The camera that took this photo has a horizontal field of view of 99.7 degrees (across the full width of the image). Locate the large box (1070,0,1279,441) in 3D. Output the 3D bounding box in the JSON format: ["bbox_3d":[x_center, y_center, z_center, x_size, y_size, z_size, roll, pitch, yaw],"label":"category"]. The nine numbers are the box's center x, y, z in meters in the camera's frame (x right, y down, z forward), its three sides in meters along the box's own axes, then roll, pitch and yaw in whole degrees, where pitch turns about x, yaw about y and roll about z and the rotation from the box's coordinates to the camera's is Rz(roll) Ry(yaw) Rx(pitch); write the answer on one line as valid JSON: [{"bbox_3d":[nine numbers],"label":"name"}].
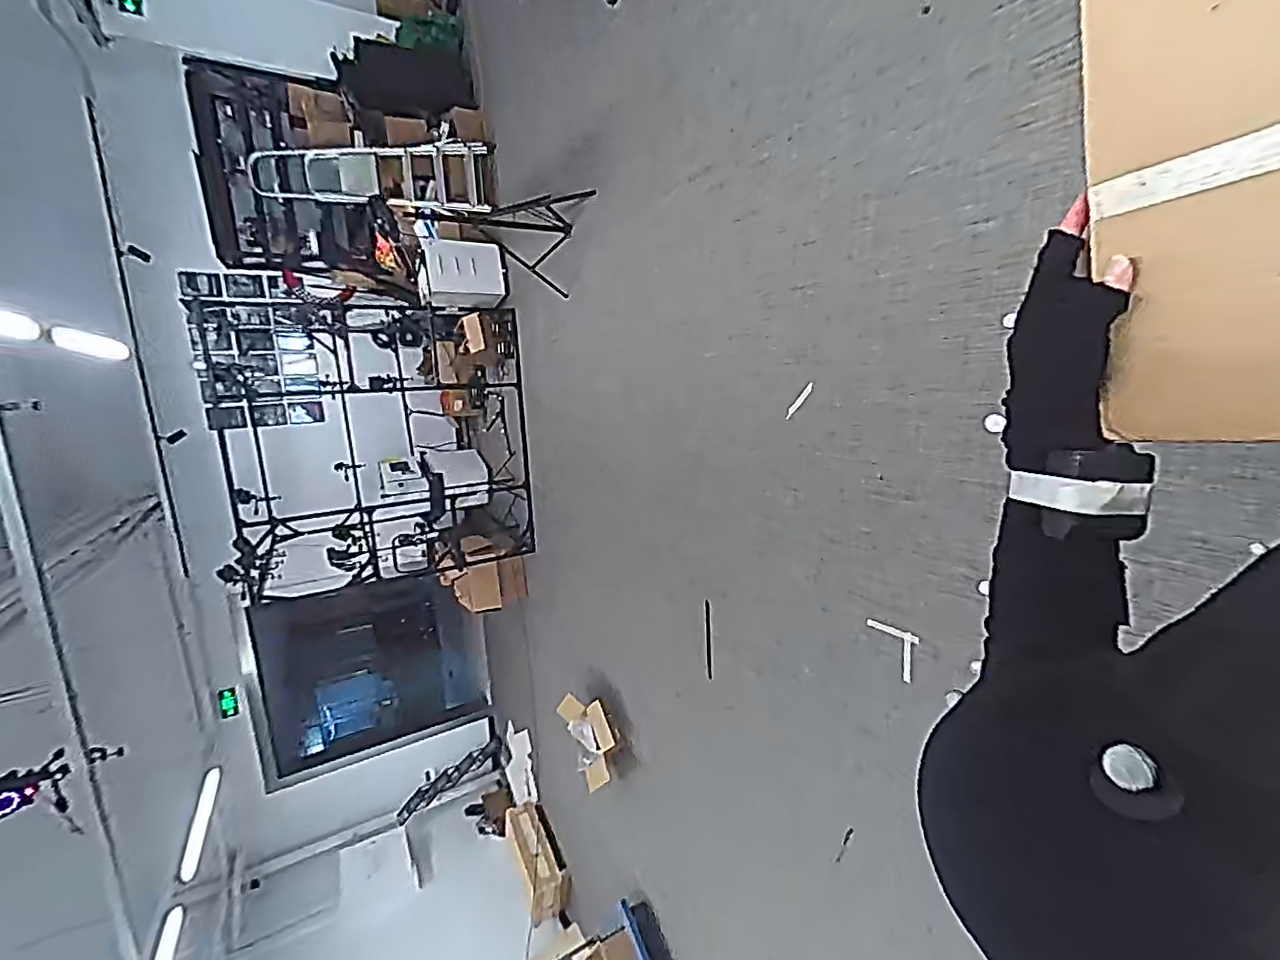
[{"bbox_3d":[0.519,-0.207,0.256,0.408,0.320,0.320,5,109,59],"label":"large box"}]
